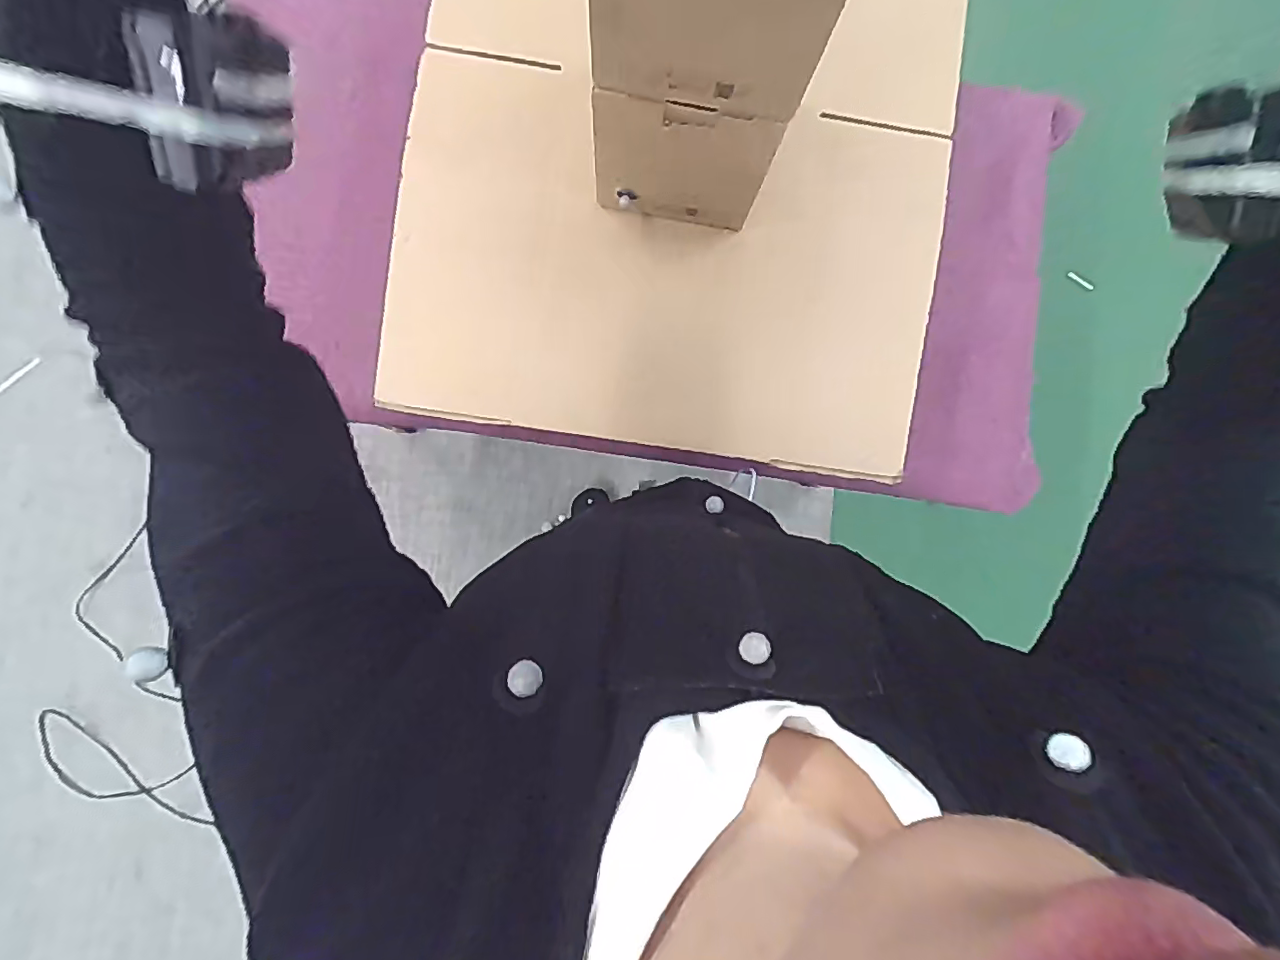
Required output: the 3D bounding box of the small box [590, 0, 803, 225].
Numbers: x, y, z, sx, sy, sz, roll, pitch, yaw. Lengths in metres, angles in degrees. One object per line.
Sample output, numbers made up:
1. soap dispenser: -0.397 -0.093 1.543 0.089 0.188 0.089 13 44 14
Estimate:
1. small box: 0.049 -0.380 0.528 0.168 0.176 0.179 9 85 -2
